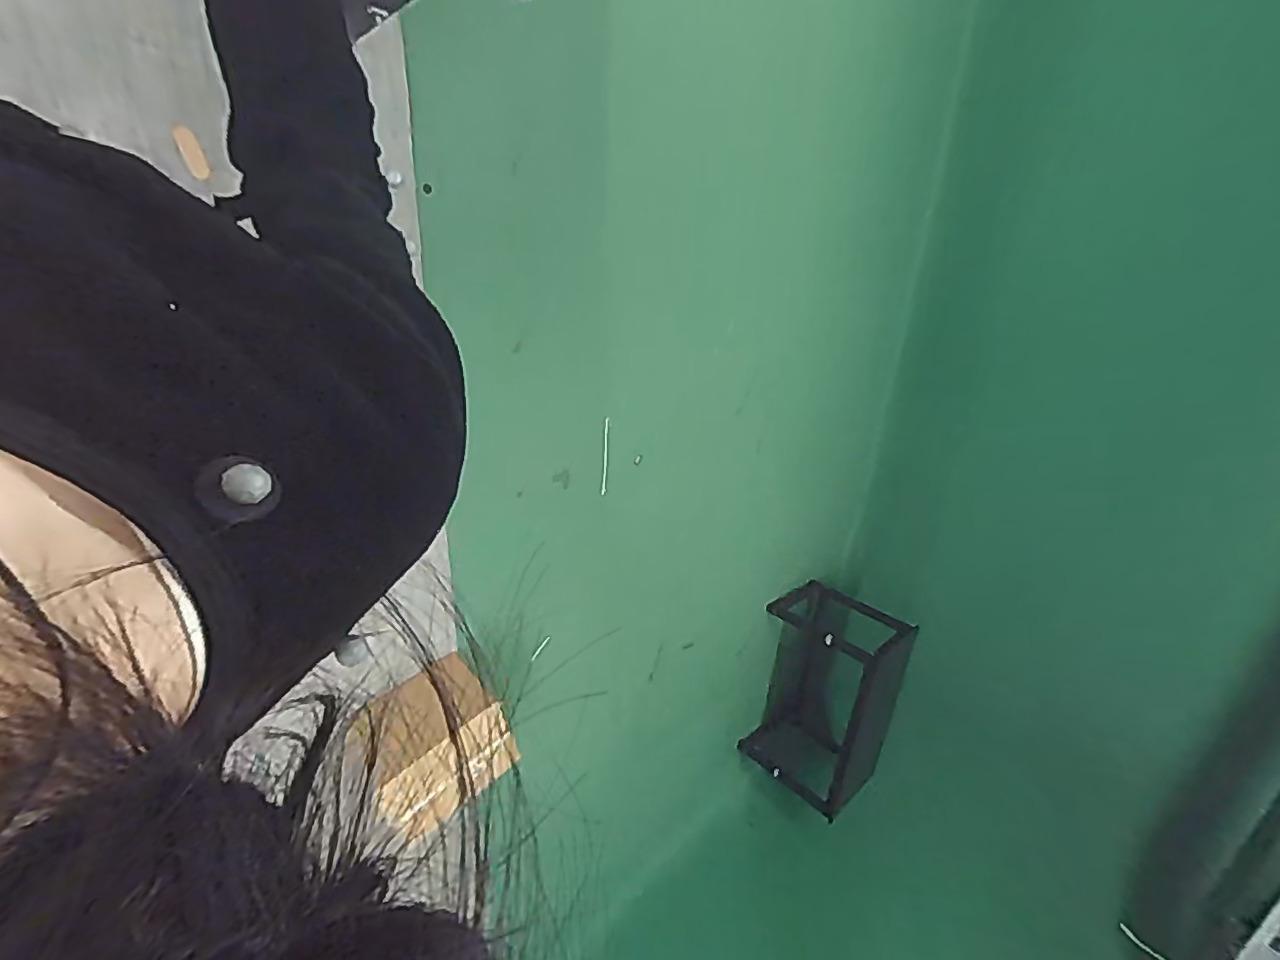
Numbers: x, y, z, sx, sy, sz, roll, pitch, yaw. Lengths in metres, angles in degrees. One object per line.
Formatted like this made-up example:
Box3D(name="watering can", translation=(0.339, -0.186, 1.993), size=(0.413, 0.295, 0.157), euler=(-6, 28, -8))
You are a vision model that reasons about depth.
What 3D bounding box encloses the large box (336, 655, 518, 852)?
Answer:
Box3D(name="large box", translation=(-0.676, 0.858, 1.747), size=(0.408, 0.320, 0.320), euler=(-32, 128, -34))
